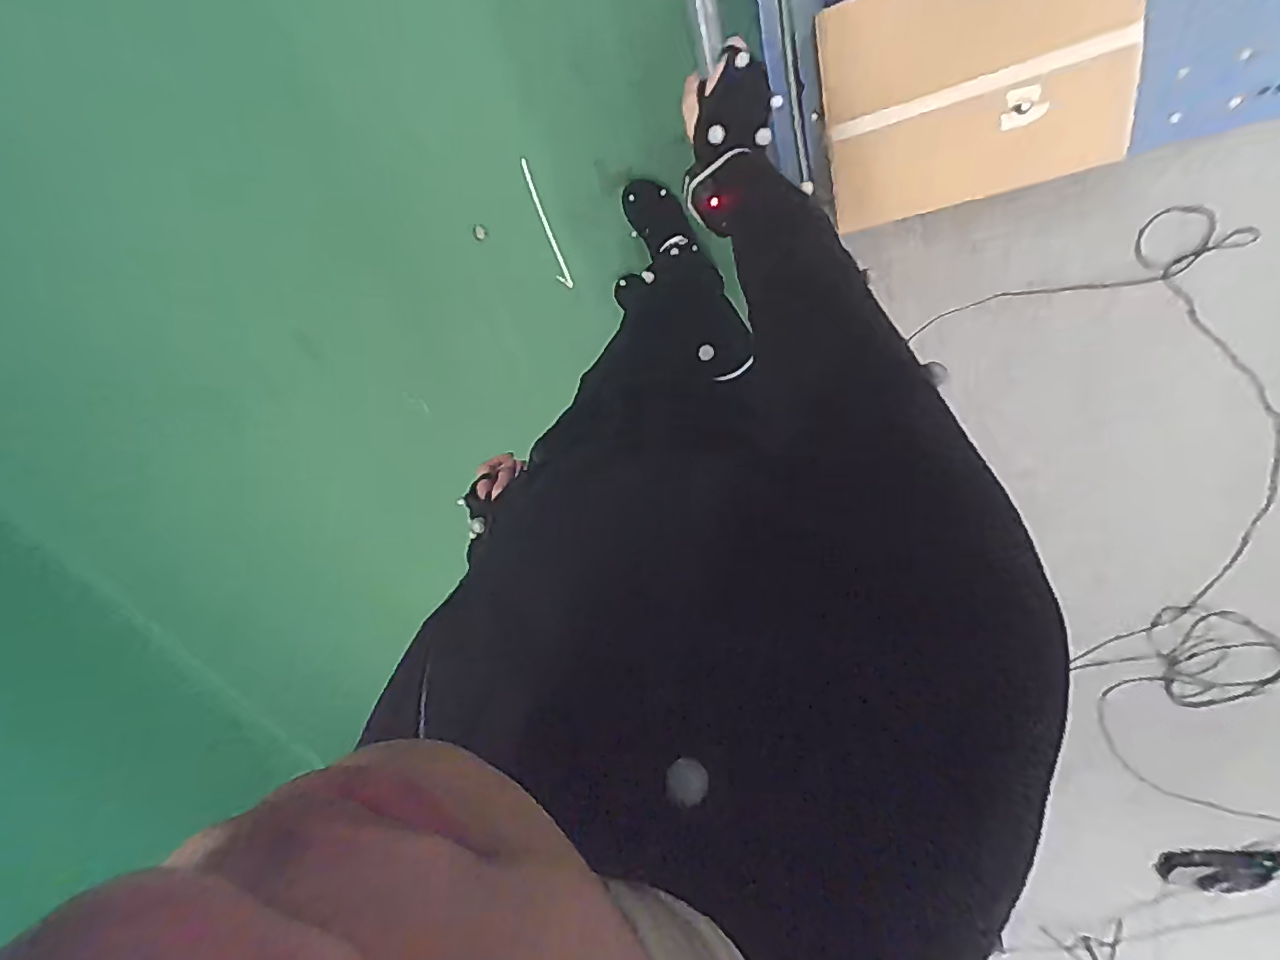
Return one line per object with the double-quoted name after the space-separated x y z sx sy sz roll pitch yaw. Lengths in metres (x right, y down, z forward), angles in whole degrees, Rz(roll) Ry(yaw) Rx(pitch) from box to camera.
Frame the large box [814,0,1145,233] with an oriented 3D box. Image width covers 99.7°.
0.528 -0.664 0.919 0.408 0.320 0.320 -8 123 21 "large box"
